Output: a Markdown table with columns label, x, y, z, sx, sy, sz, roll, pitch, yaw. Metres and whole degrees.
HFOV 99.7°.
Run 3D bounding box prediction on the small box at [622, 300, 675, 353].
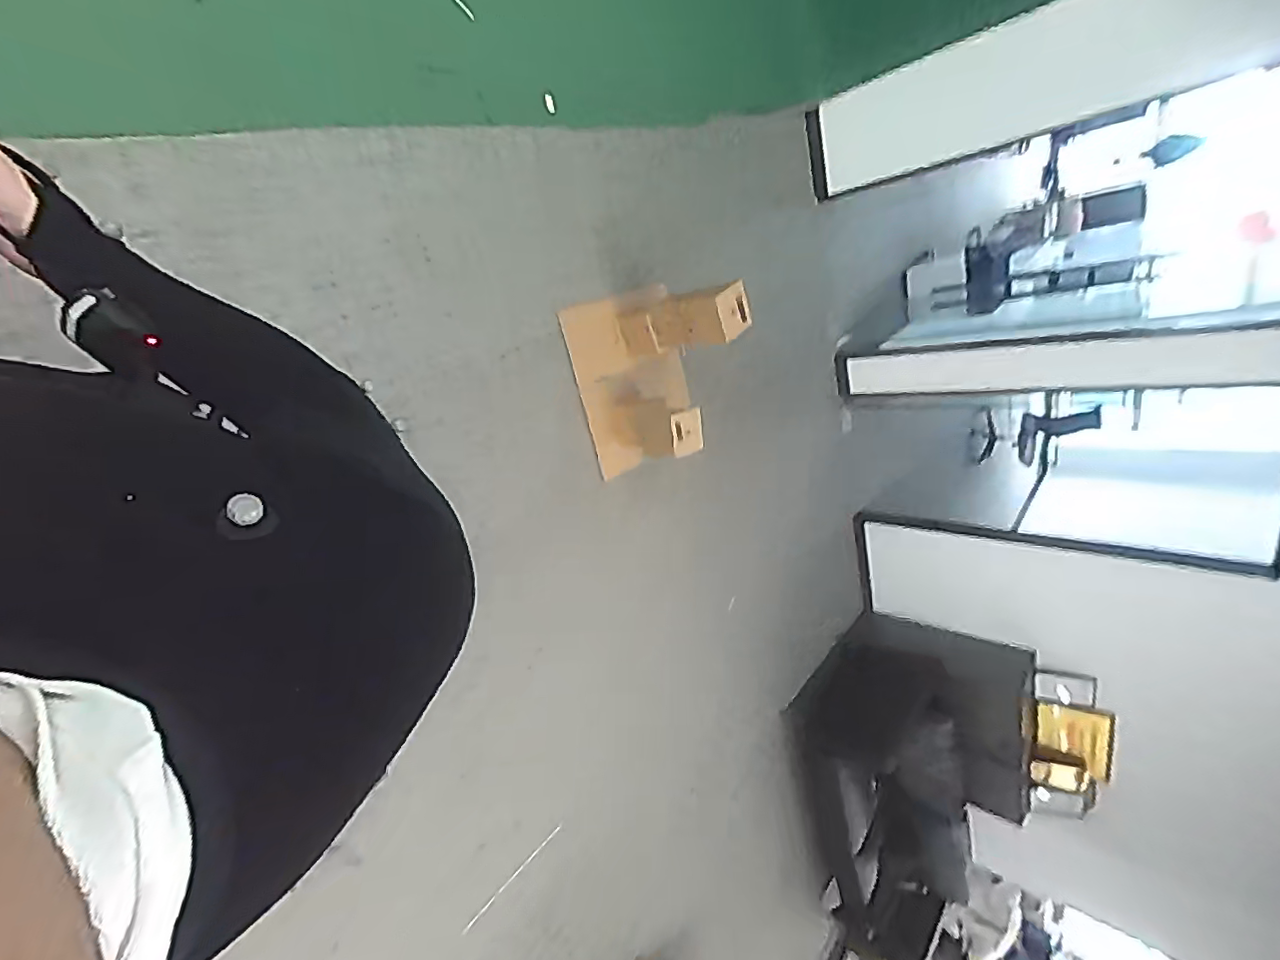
| label | x | y | z | sx | sy | sz | roll | pitch | yaw |
| --- | --- | --- | --- | --- | --- | --- | --- | --- | --- |
| small box | 0.056 | -0.625 | 2.180 | 0.179 | 0.176 | 0.168 | -40 | 122 | -34 |

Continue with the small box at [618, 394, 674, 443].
| label | x | y | z | sx | sy | sz | roll | pitch | yaw |
| --- | --- | --- | --- | --- | --- | --- | --- | --- | --- |
| small box | 0.027 | -0.249 | 2.201 | 0.179 | 0.176 | 0.168 | -26 | 113 | -41 |

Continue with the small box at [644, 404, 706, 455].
| label | x | y | z | sx | sy | sz | roll | pitch | yaw |
| --- | --- | --- | --- | --- | --- | --- | --- | --- | --- |
| small box | 0.130 | -0.196 | 2.077 | 0.179 | 0.176 | 0.168 | -21 | 110 | -42 |

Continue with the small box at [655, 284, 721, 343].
| label | x | y | z | sx | sy | sz | roll | pitch | yaw |
| --- | --- | --- | --- | --- | --- | --- | --- | --- | --- |
| small box | 0.177 | -0.633 | 2.065 | 0.179 | 0.176 | 0.168 | -39 | 122 | -35 |
